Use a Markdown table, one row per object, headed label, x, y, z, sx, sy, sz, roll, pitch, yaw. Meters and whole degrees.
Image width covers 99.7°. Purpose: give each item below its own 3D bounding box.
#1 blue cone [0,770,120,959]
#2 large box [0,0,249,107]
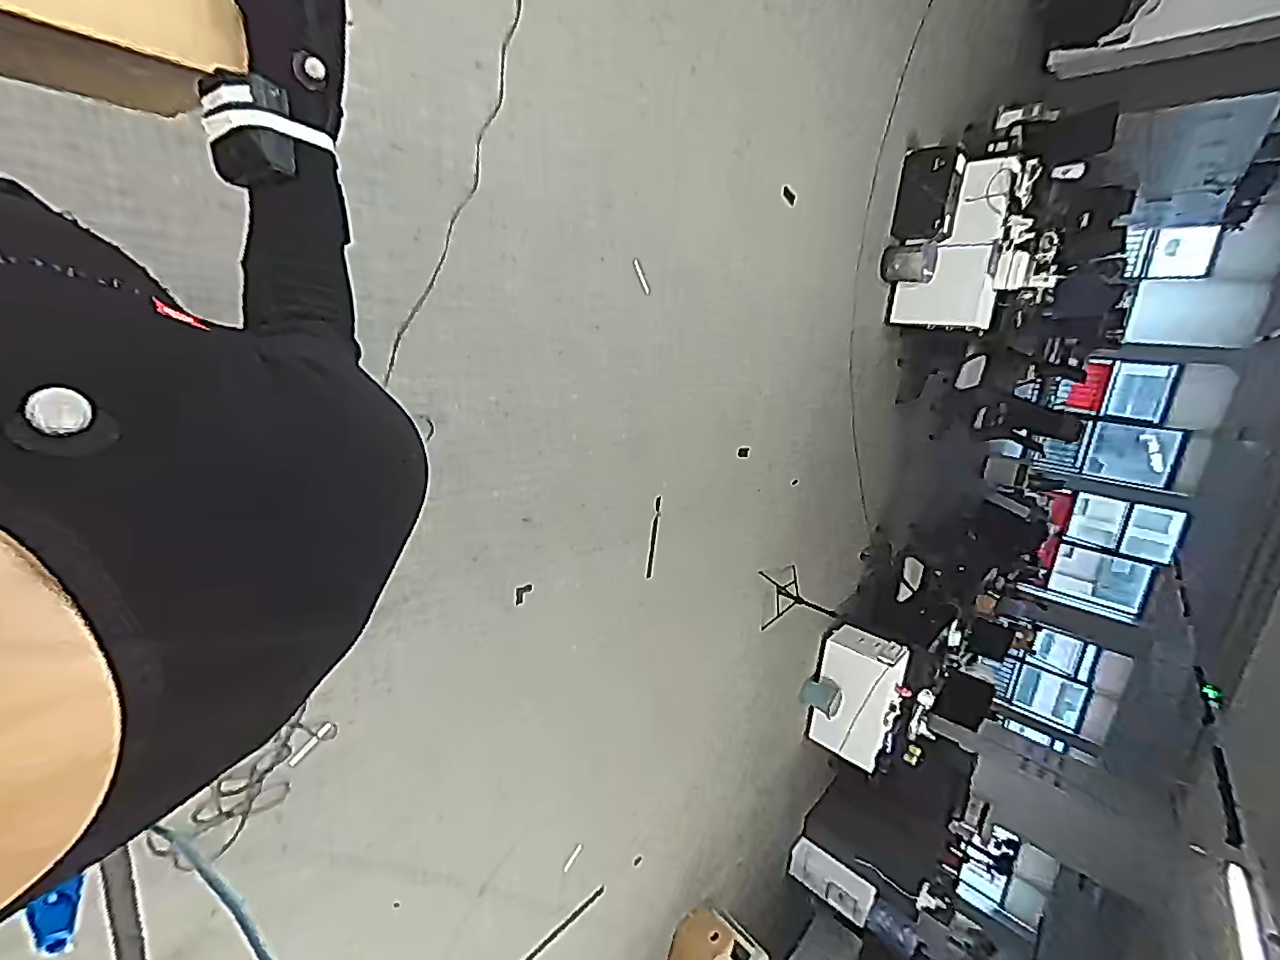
| label | x | y | z | sx | sy | sz | roll | pitch | yaw |
| --- | --- | --- | --- | --- | --- | --- | --- | --- | --- |
| blue cone | -1.139 | 0.756 | 1.048 | 0.193 | 0.380 | 0.192 | 22 | 87 | -49 |
| large box | -0.525 | -0.468 | 0.310 | 0.408 | 0.320 | 0.320 | -14 | 119 | -47 |
